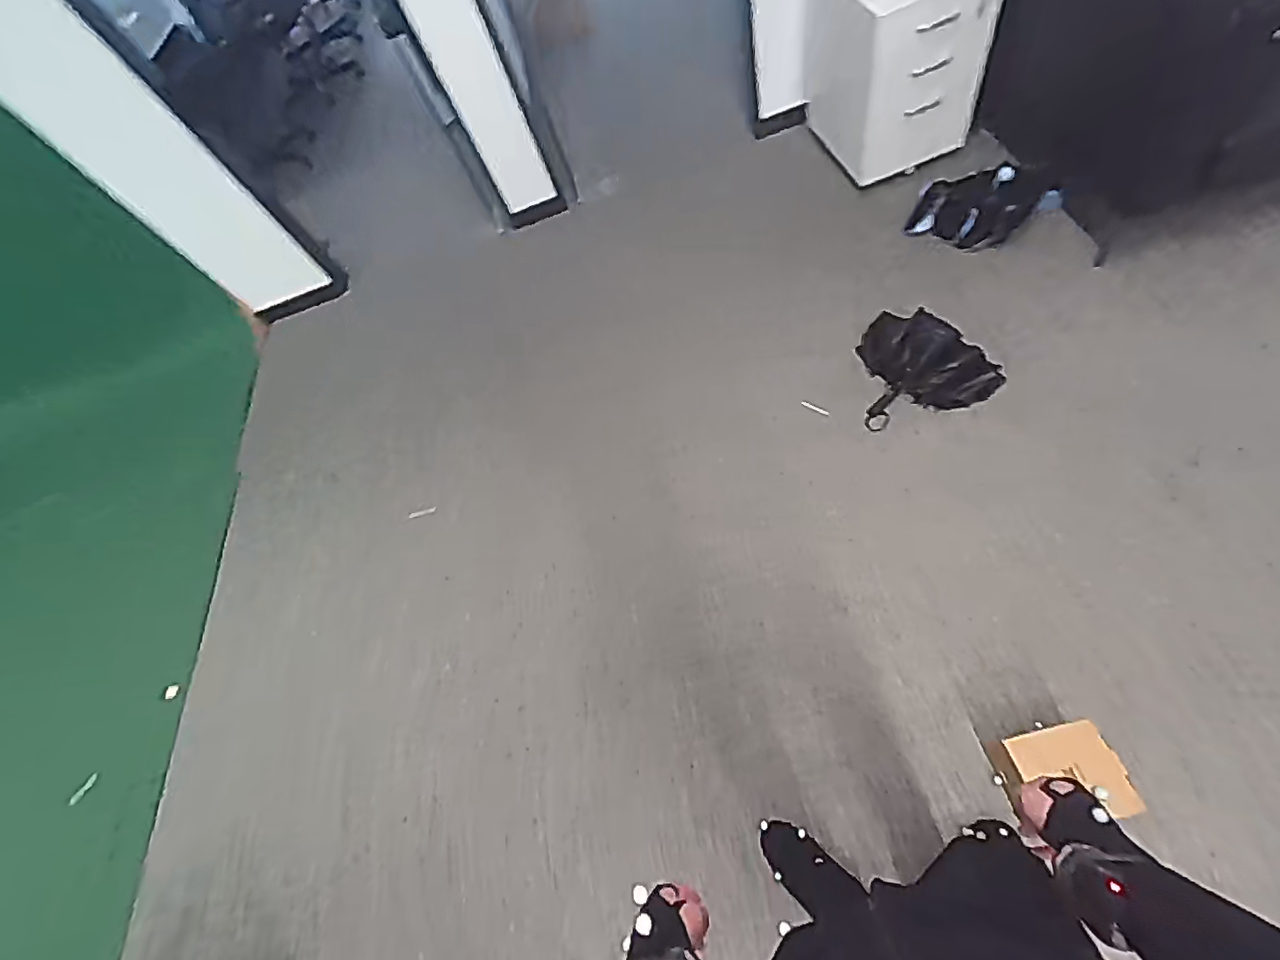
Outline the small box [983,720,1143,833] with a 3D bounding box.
[{"bbox_3d":[0.853,0.608,1.114,0.179,0.176,0.168,-20,57,7],"label":"small box"}]
